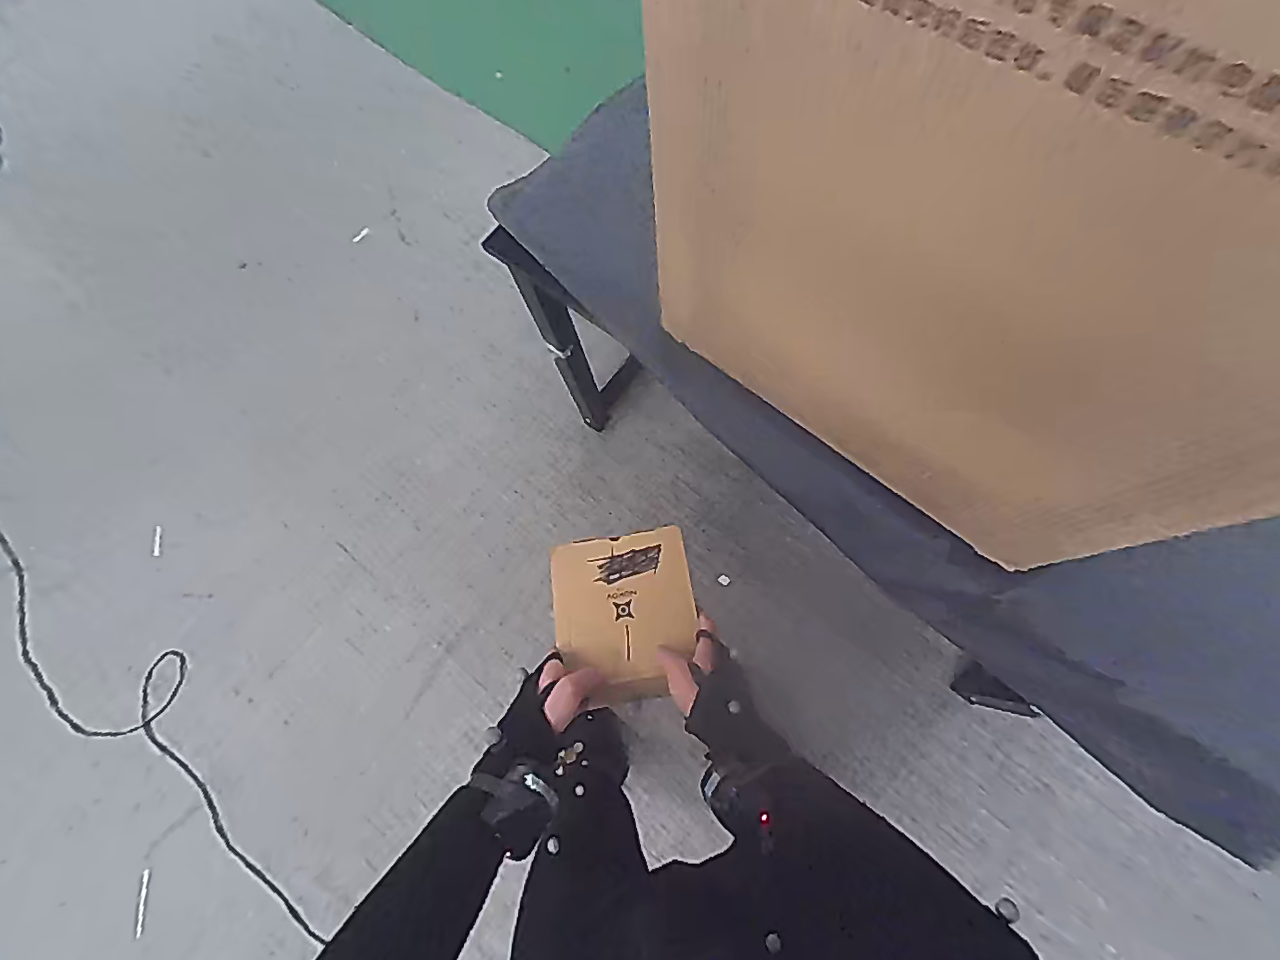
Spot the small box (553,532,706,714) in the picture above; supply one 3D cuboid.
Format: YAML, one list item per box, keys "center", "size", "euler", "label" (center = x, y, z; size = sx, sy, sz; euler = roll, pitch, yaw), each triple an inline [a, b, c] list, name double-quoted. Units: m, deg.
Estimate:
- center: [-0.014, 0.190, 0.703]
  size: [0.168, 0.176, 0.179]
  euler: [-9, 60, 0]
  label: "small box"
